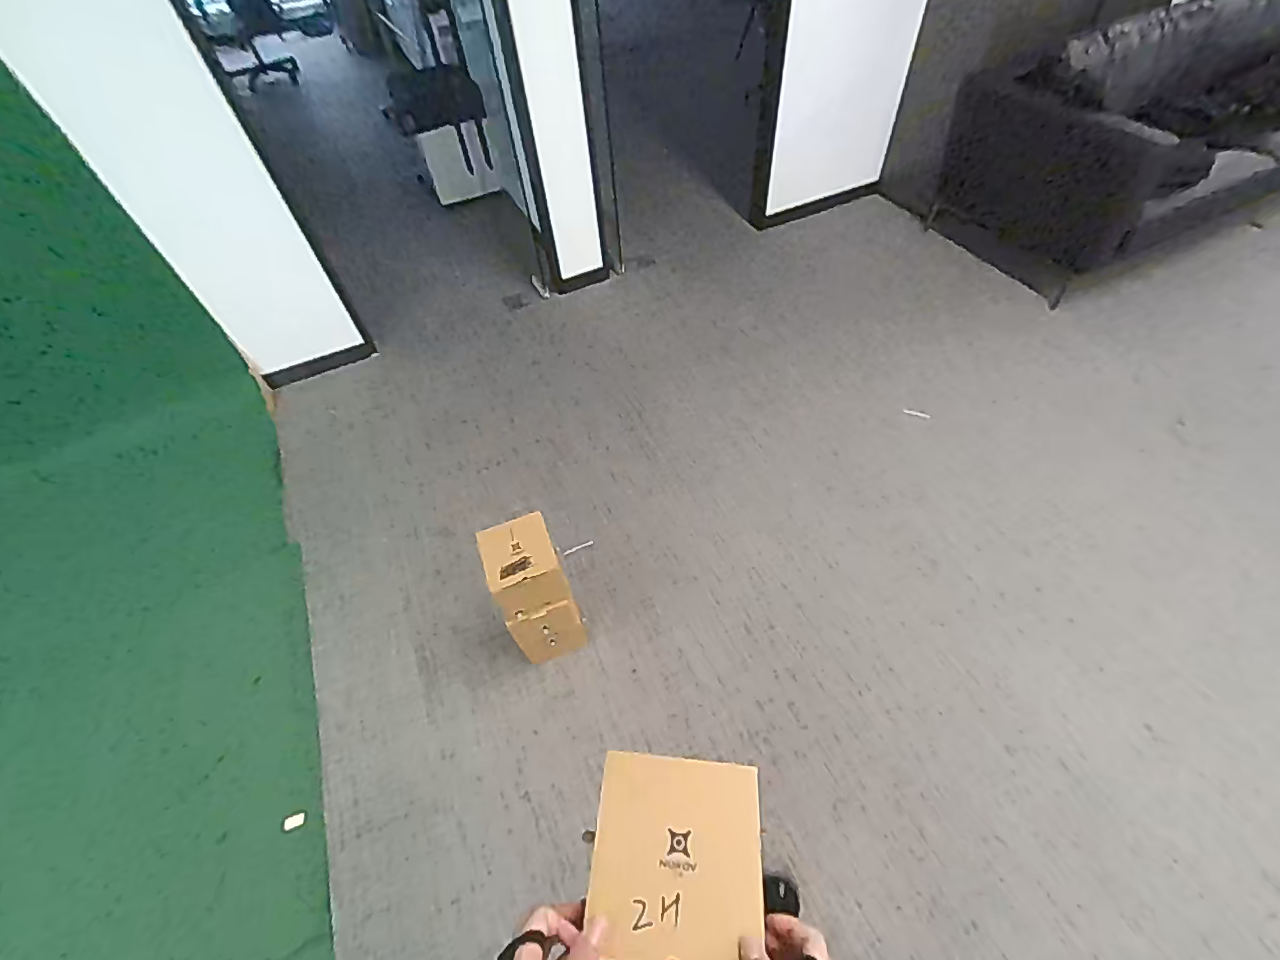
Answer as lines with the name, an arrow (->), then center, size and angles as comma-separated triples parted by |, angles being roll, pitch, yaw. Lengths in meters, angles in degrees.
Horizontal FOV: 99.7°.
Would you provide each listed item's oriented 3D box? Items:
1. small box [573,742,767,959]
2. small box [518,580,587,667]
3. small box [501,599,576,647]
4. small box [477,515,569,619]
small box -> 0.036, 0.416, 0.584 | 0.168, 0.176, 0.179 | 9, 49, 9
small box -> -0.267, 0.426, 1.590 | 0.179, 0.176, 0.168 | -18, 54, -10
small box -> -0.280, 0.332, 1.458 | 0.168, 0.176, 0.179 | -18, 55, -10
small box -> -0.284, 0.222, 1.334 | 0.168, 0.176, 0.179 | -19, 53, -10
